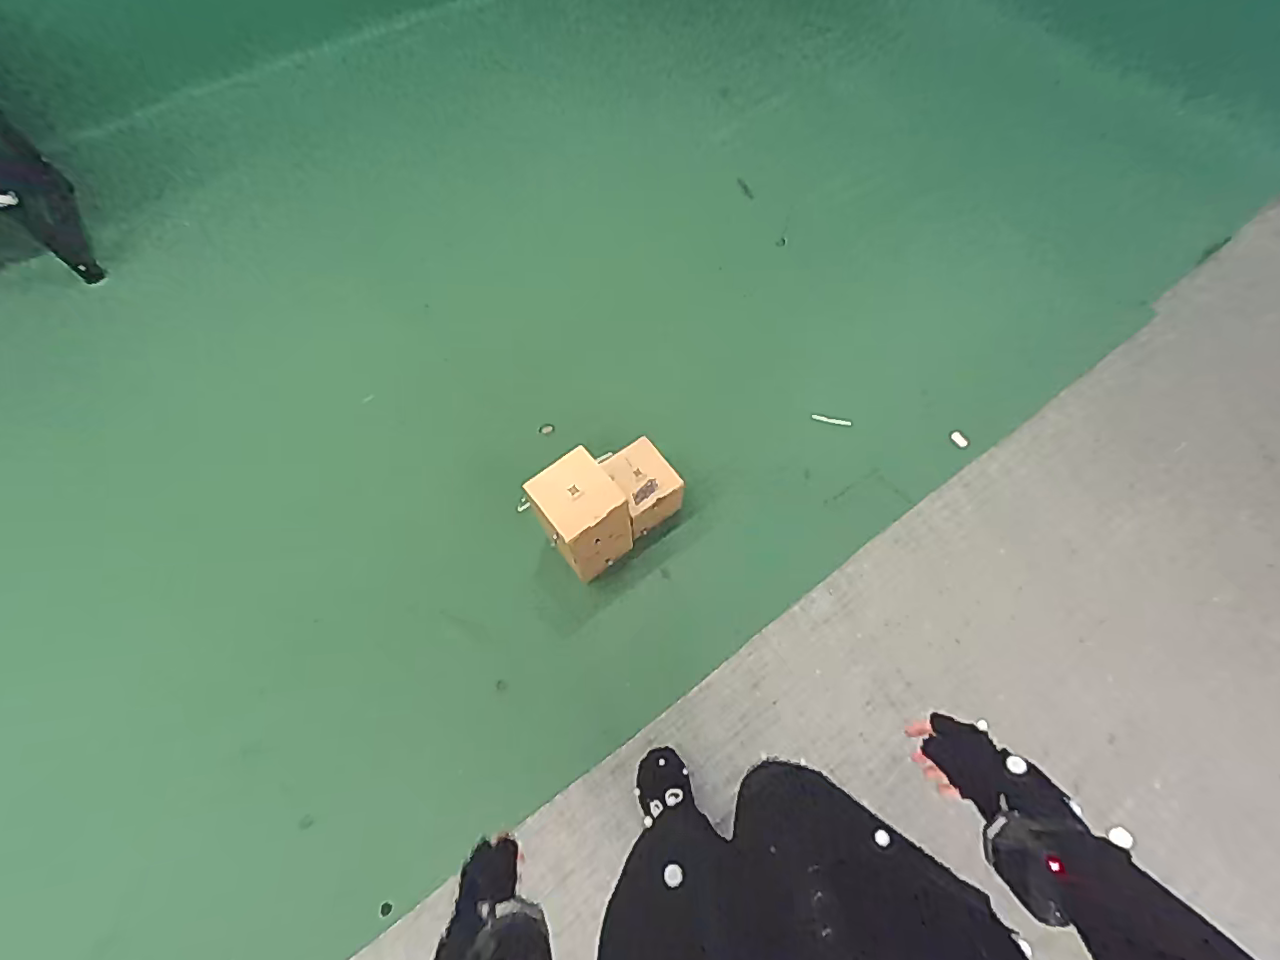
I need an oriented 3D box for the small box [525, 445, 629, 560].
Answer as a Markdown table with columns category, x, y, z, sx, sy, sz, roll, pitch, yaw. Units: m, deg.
| category | x | y | z | sx | sy | sz | roll | pitch | yaw |
| --- | --- | --- | --- | --- | --- | --- | --- | --- | --- |
| small box | -0.141 | 0.059 | 1.260 | 0.168 | 0.176 | 0.179 | -37 | 71 | -16 |
